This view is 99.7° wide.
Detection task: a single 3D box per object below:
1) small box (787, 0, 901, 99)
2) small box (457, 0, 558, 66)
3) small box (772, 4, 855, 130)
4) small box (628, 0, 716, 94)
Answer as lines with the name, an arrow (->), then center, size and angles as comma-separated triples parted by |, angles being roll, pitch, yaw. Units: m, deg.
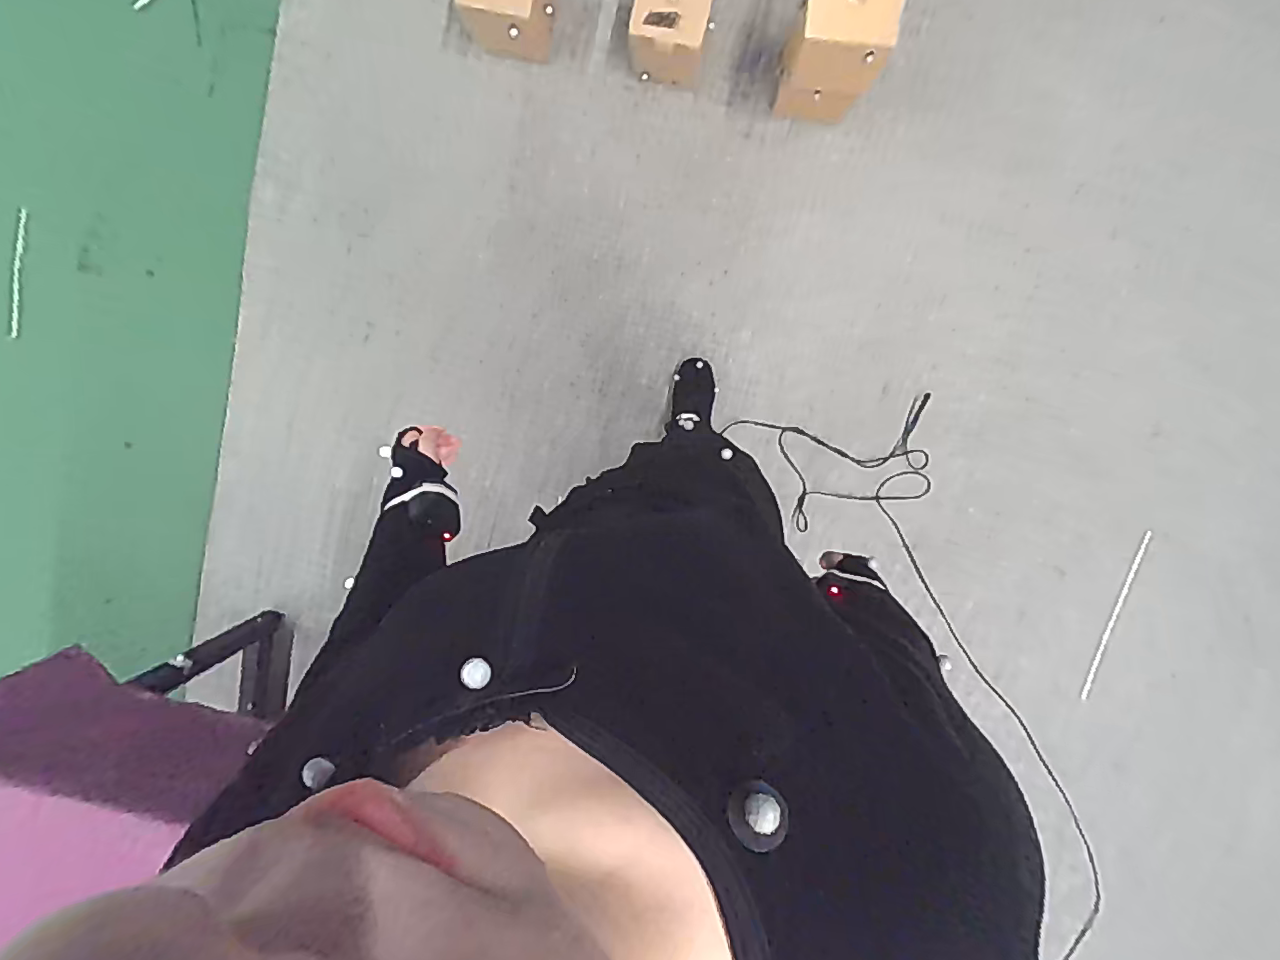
small box -> 0.405, -0.903, 1.088 | 0.179, 0.176, 0.168 | 7, 99, 3
small box -> -0.303, -1.121, 1.272 | 0.179, 0.176, 0.168 | 14, 98, 2
small box -> 0.417, -0.942, 1.246 | 0.179, 0.176, 0.168 | 12, 100, 2
small box -> 0.078, -1.045, 1.255 | 0.168, 0.176, 0.179 | 14, 98, 2
